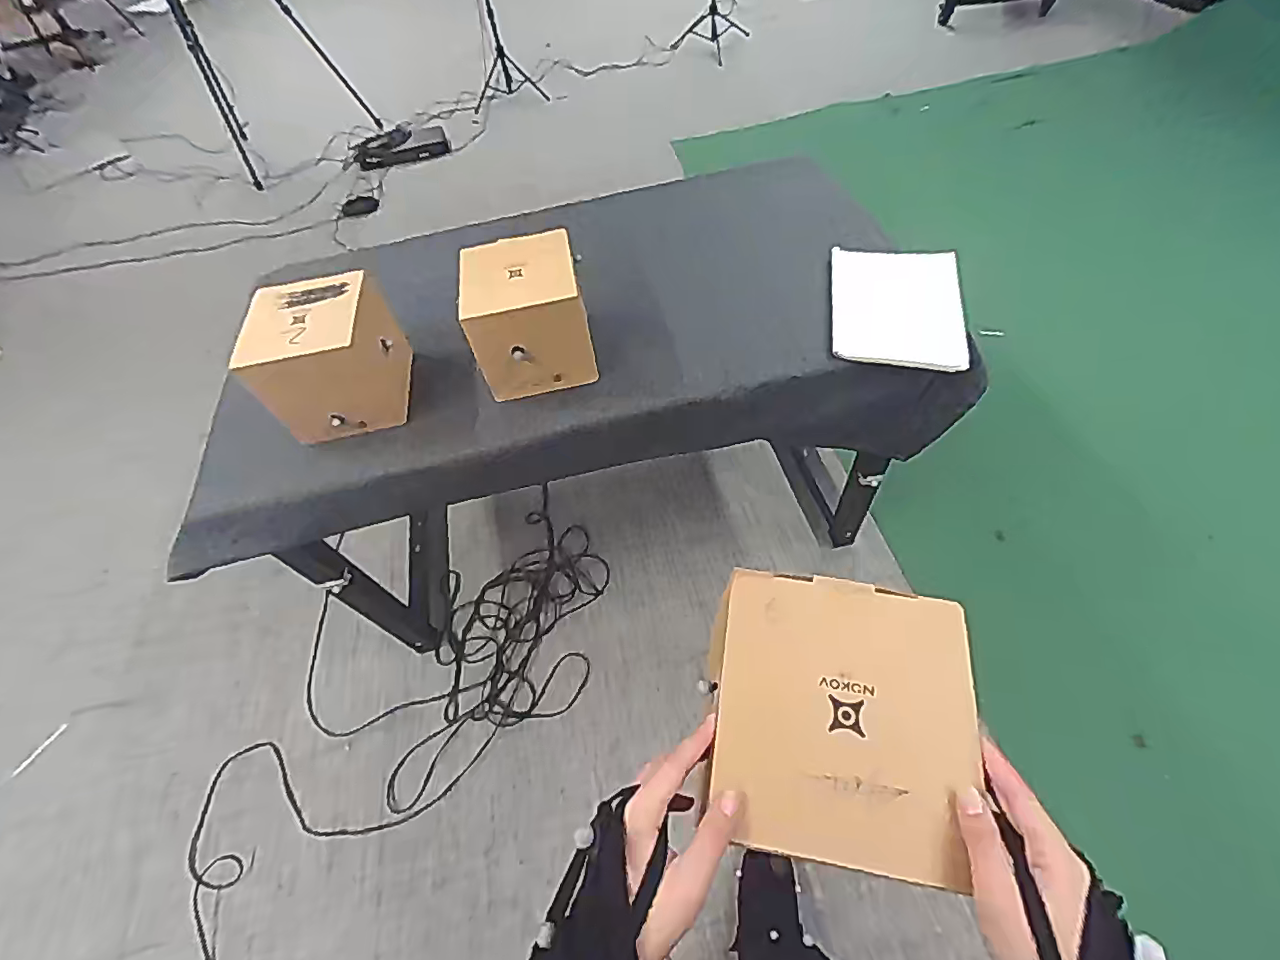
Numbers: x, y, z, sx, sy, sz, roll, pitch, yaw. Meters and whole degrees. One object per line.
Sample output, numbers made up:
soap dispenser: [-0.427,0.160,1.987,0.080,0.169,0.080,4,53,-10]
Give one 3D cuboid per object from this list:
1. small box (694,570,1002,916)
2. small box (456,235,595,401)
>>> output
small box: [0.135,0.192,0.413,0.168,0.176,0.179,8,60,7]
small box: [-0.170,-0.240,0.832,0.168,0.176,0.179,-12,54,-1]
